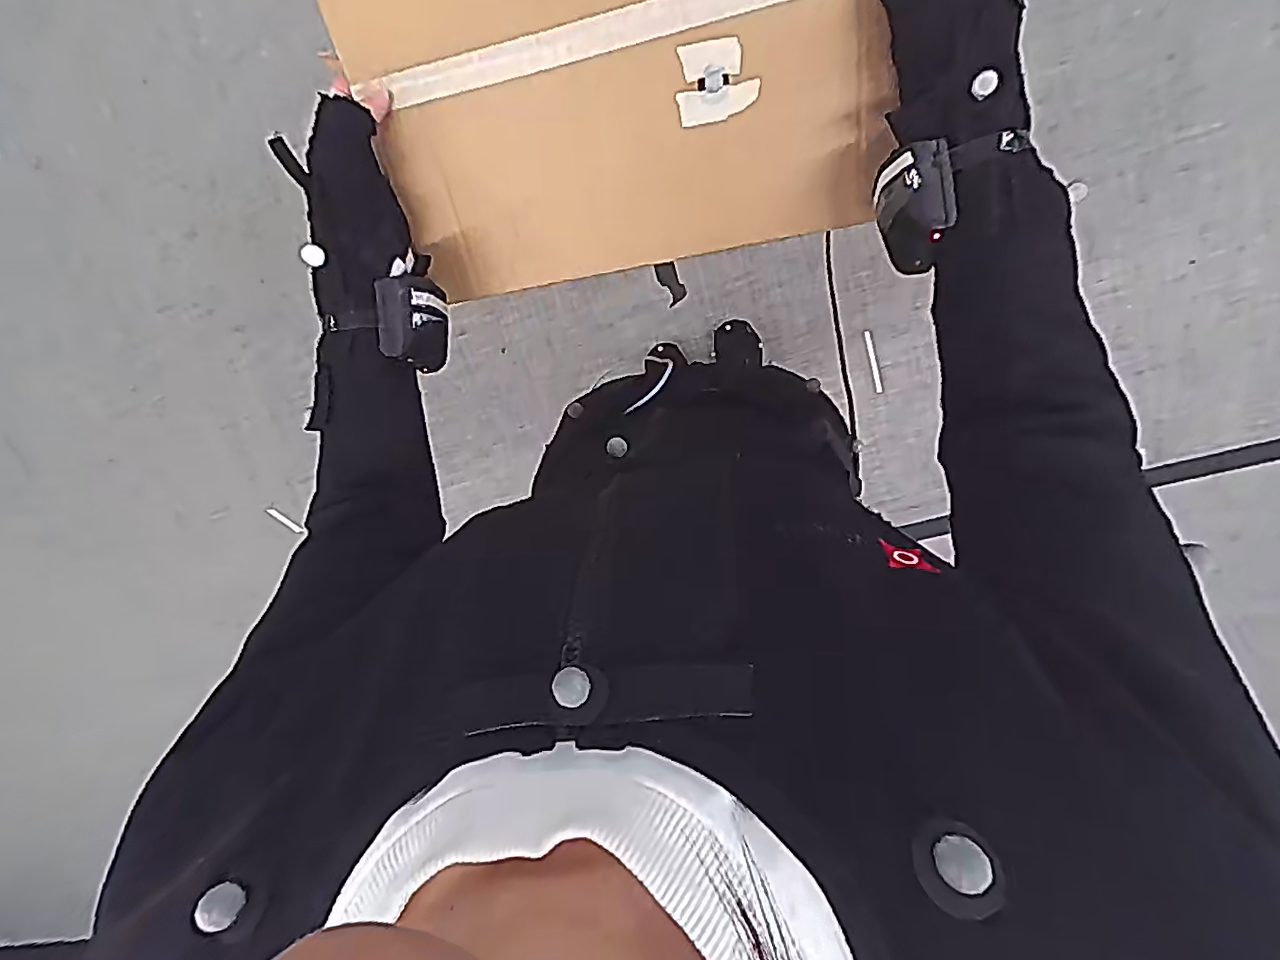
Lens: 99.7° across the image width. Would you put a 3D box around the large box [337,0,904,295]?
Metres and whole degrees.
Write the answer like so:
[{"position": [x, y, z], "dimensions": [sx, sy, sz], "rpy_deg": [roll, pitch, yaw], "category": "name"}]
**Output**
[{"position": [-0.007, -0.399, 0.521], "dimensions": [0.408, 0.320, 0.320], "rpy_deg": [-8, 118, 10], "category": "large box"}]
